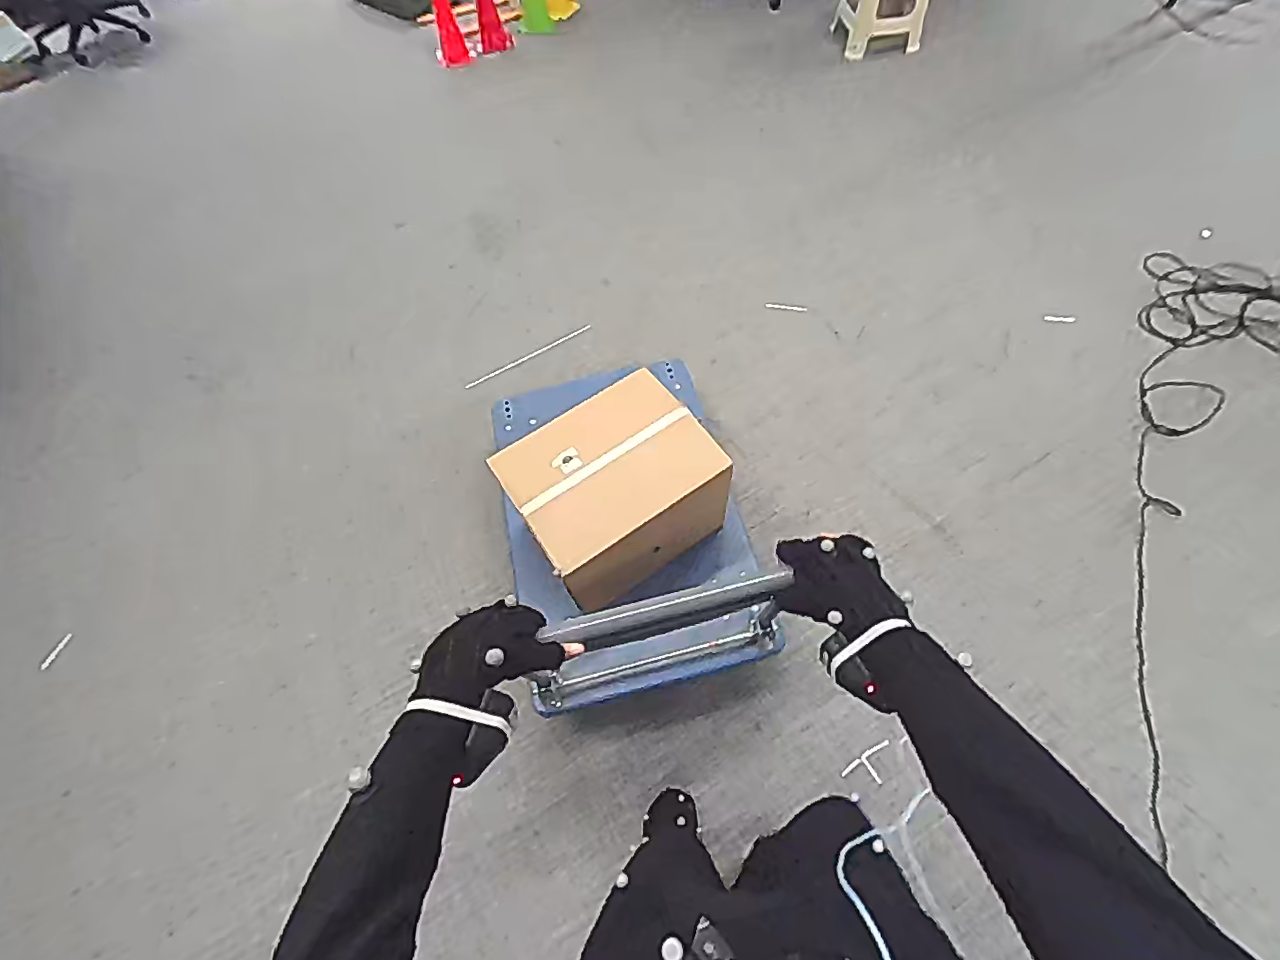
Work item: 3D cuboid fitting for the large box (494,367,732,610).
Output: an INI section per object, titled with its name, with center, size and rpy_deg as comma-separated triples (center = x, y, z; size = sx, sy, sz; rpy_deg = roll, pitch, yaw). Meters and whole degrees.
[large box]
center = -0.046, 0.029, 1.231
size = 0.408, 0.320, 0.320
rpy_deg = -34, 65, -12
